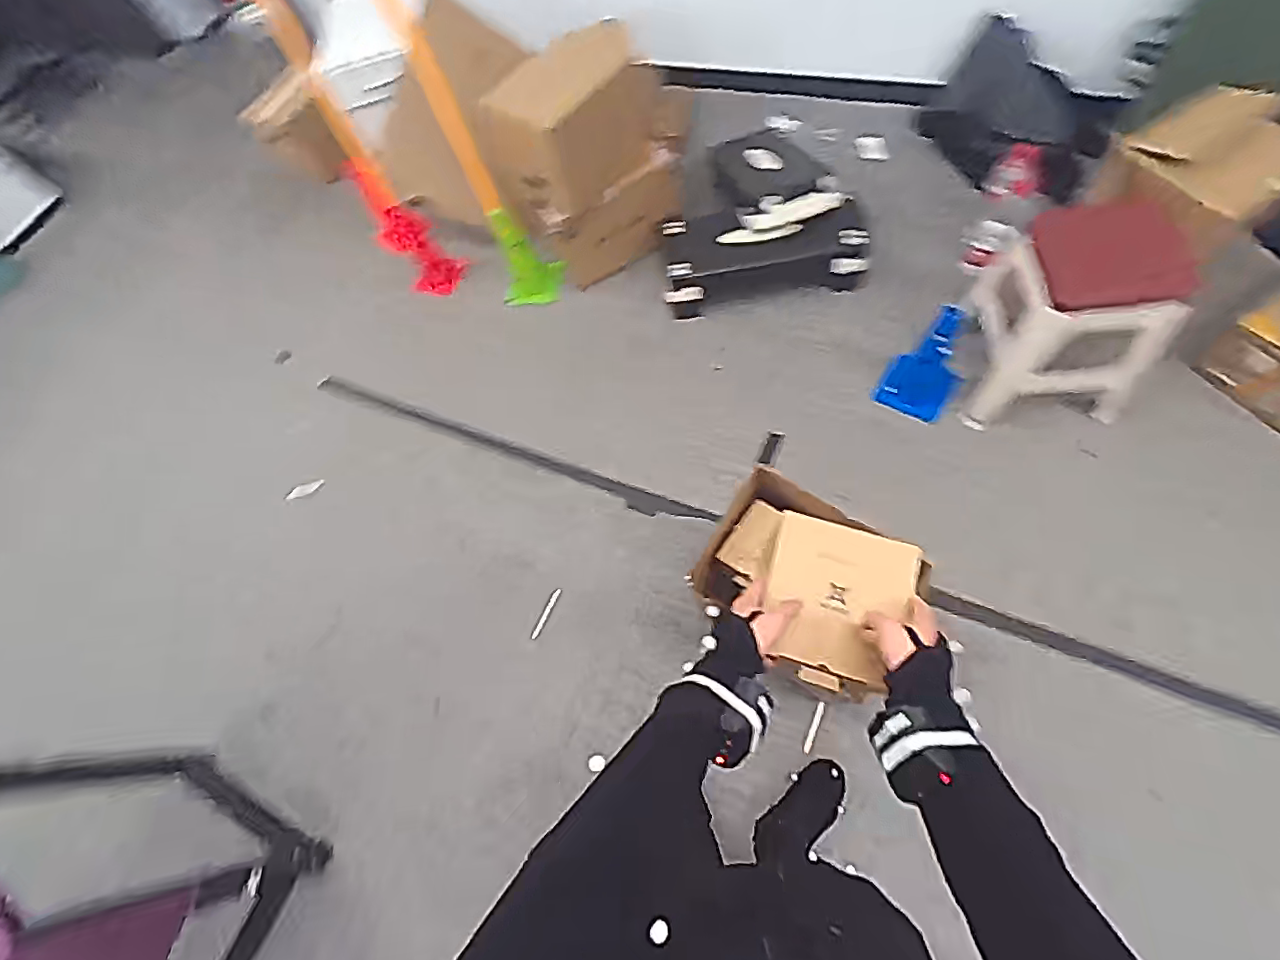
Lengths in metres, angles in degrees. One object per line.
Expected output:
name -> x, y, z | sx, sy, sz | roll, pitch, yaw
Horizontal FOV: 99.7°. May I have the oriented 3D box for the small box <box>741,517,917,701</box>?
small box -> 0.235, 0.173, 0.709 | 0.168, 0.176, 0.179 | 16, 71, 10
